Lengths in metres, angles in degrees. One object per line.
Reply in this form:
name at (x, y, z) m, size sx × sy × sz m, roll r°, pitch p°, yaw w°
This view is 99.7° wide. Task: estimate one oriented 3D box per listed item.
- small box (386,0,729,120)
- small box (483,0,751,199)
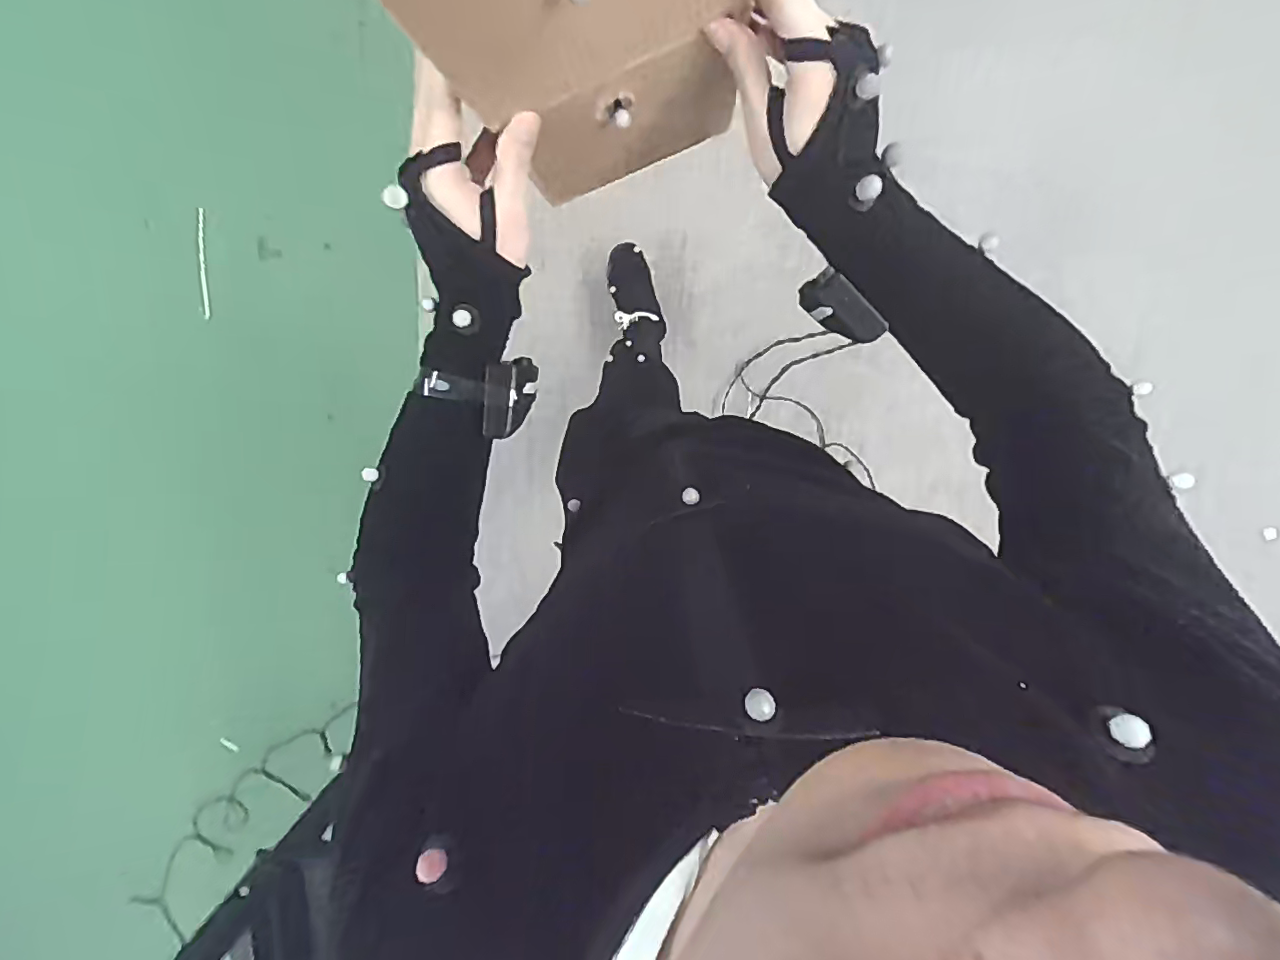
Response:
small box at (-0.047, -0.307, 0.239) m, size 0.179 × 0.176 × 0.168 m, roll -19°, pitch 99°, yaw 10°
small box at (-0.031, -0.339, 0.399) m, size 0.179 × 0.176 × 0.168 m, roll -18°, pitch 98°, yaw 8°
